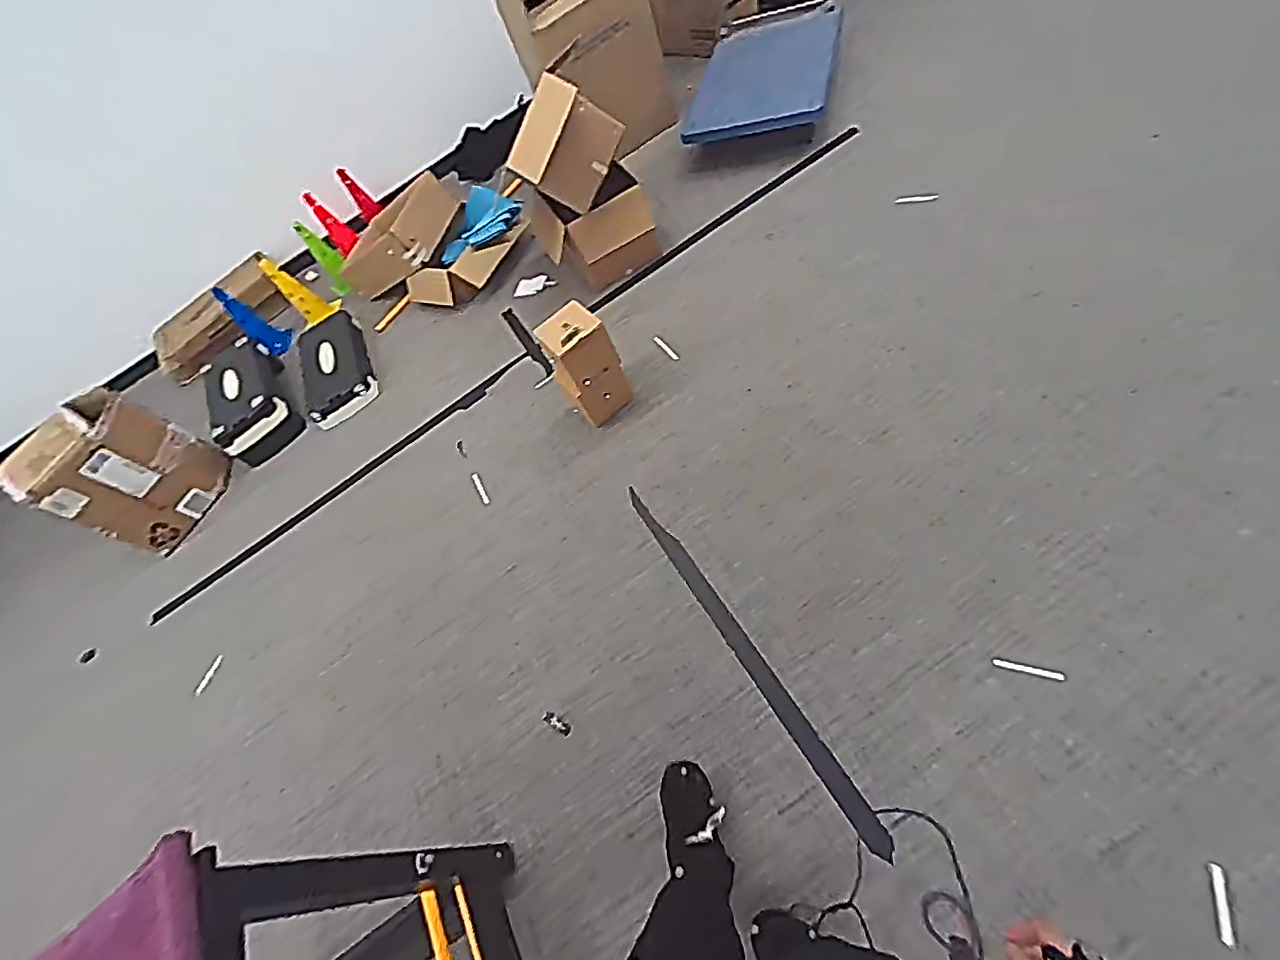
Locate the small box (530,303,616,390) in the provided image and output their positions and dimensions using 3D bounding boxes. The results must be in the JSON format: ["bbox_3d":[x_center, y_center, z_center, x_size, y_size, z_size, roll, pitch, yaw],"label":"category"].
[{"bbox_3d":[-0.201,-0.403,1.665,0.168,0.176,0.179,-39,53,-7],"label":"small box"}]
